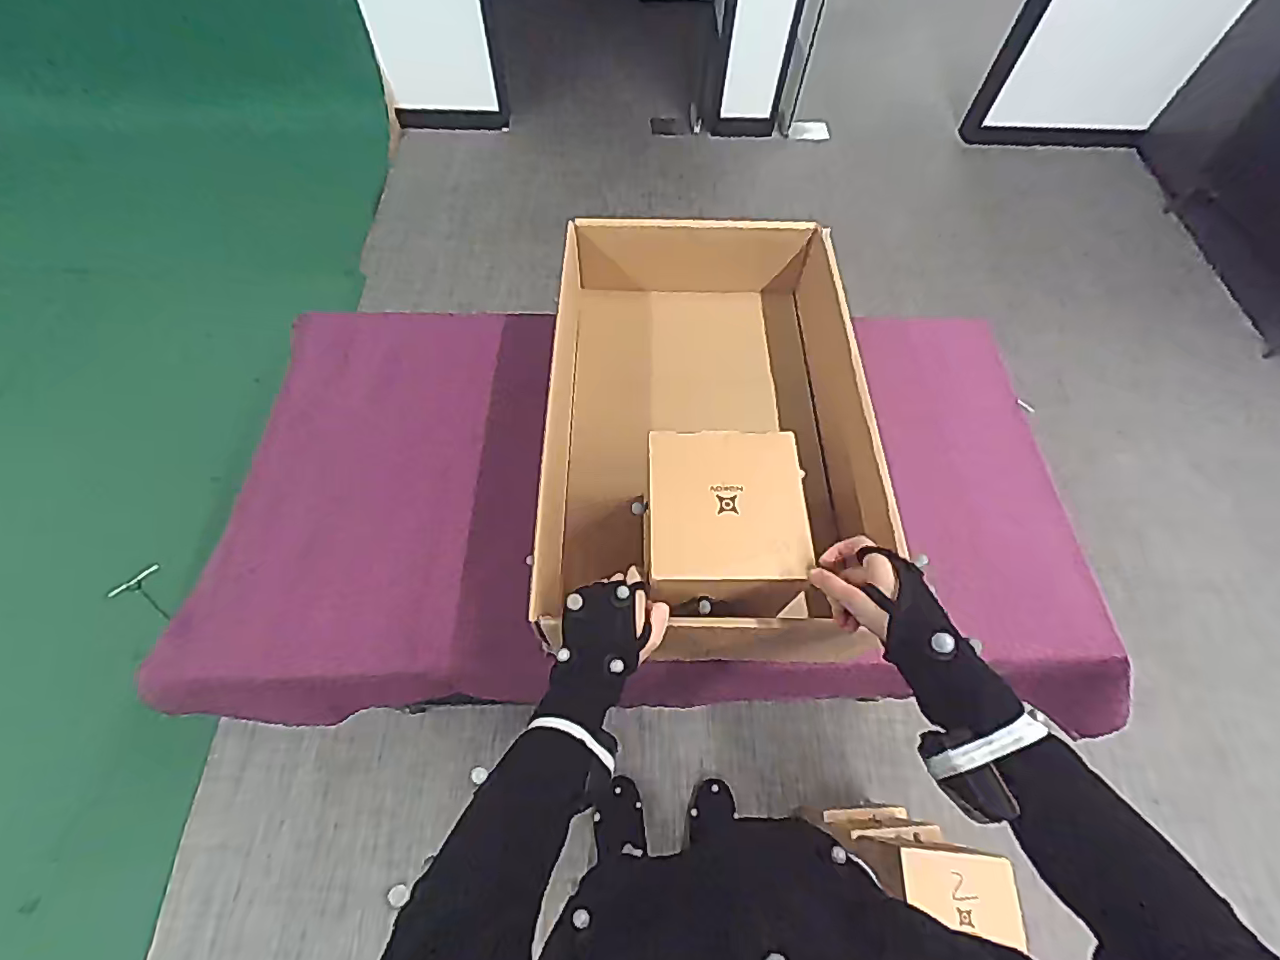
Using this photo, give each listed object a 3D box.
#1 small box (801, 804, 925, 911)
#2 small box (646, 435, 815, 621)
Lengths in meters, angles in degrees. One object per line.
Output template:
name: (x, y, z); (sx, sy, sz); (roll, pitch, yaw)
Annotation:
small box: (0.463, 0.792, 1.149); (0.179, 0.176, 0.168); (-2, 62, -2)
small box: (0.091, 0.065, 0.639); (0.168, 0.176, 0.179); (-1, 61, -1)
